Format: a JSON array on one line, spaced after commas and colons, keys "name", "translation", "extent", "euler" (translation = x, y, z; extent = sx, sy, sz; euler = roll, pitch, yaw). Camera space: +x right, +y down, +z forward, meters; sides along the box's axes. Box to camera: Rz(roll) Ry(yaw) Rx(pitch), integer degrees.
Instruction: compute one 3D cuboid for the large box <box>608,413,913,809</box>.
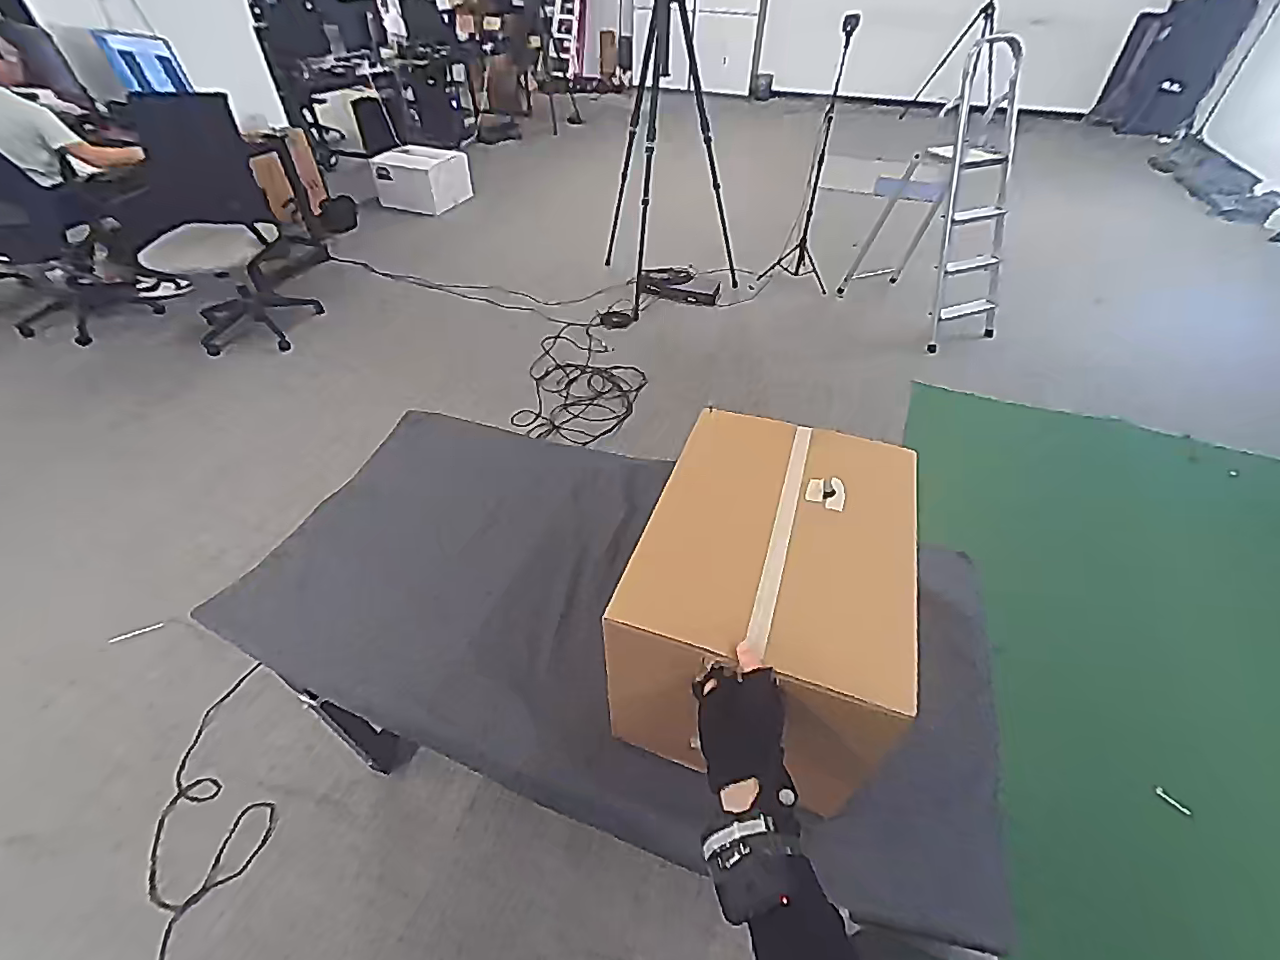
[{"name": "large box", "translation": [0.171, 0.164, 0.770], "extent": [0.320, 0.320, 0.408], "euler": [14, 44, 14]}]
